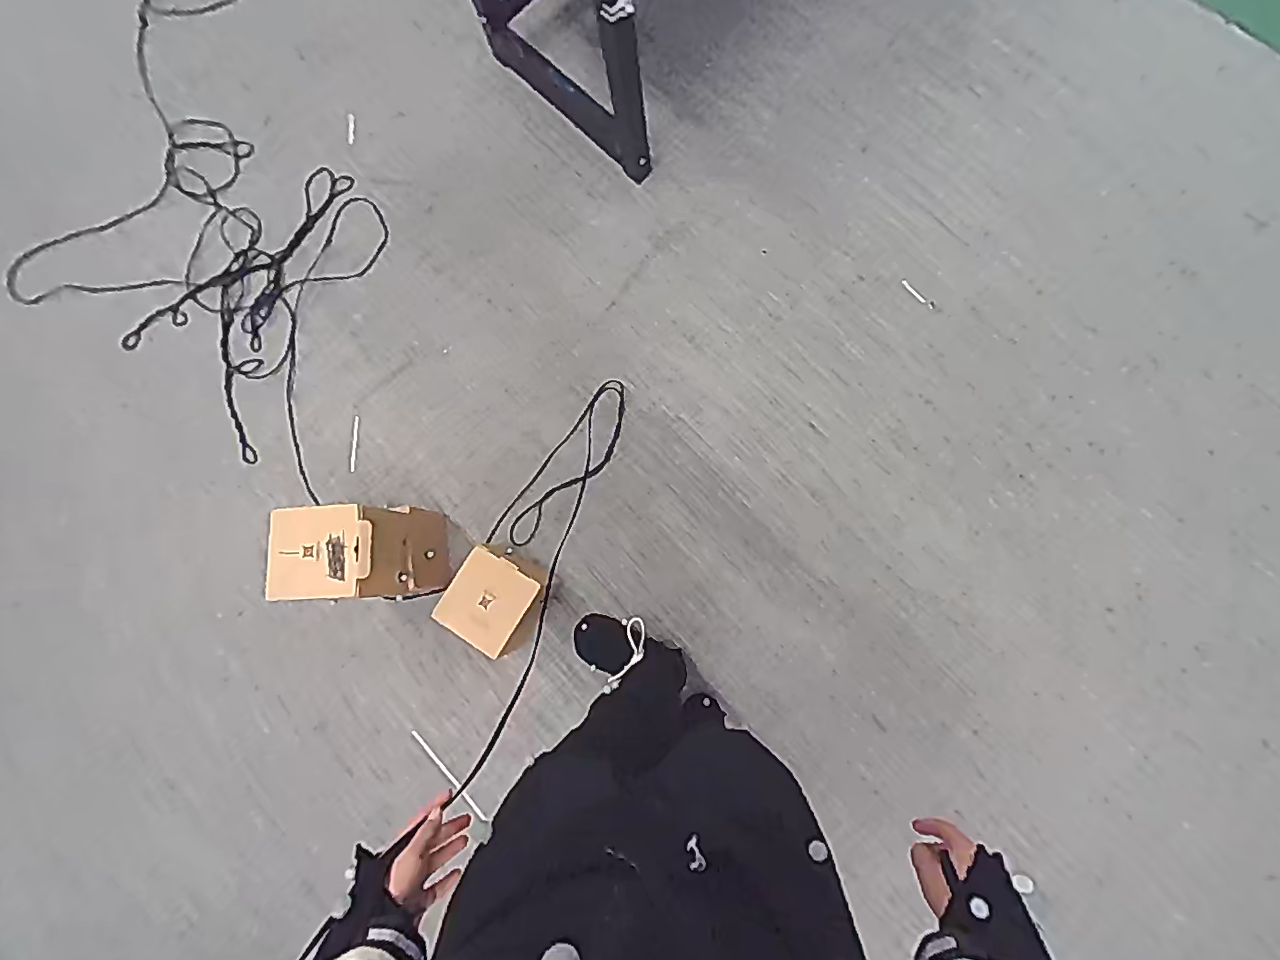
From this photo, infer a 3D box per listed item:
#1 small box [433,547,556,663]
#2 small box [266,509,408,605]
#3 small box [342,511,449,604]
[{"bbox_3d":[-0.298,0.261,1.158,0.168,0.176,0.179,30,85,10],"label":"small box"},{"bbox_3d":[-0.566,0.149,1.033,0.179,0.176,0.168,-4,79,6],"label":"small box"},{"bbox_3d":[-0.538,0.171,1.194,0.168,0.176,0.179,-9,80,5],"label":"small box"}]
